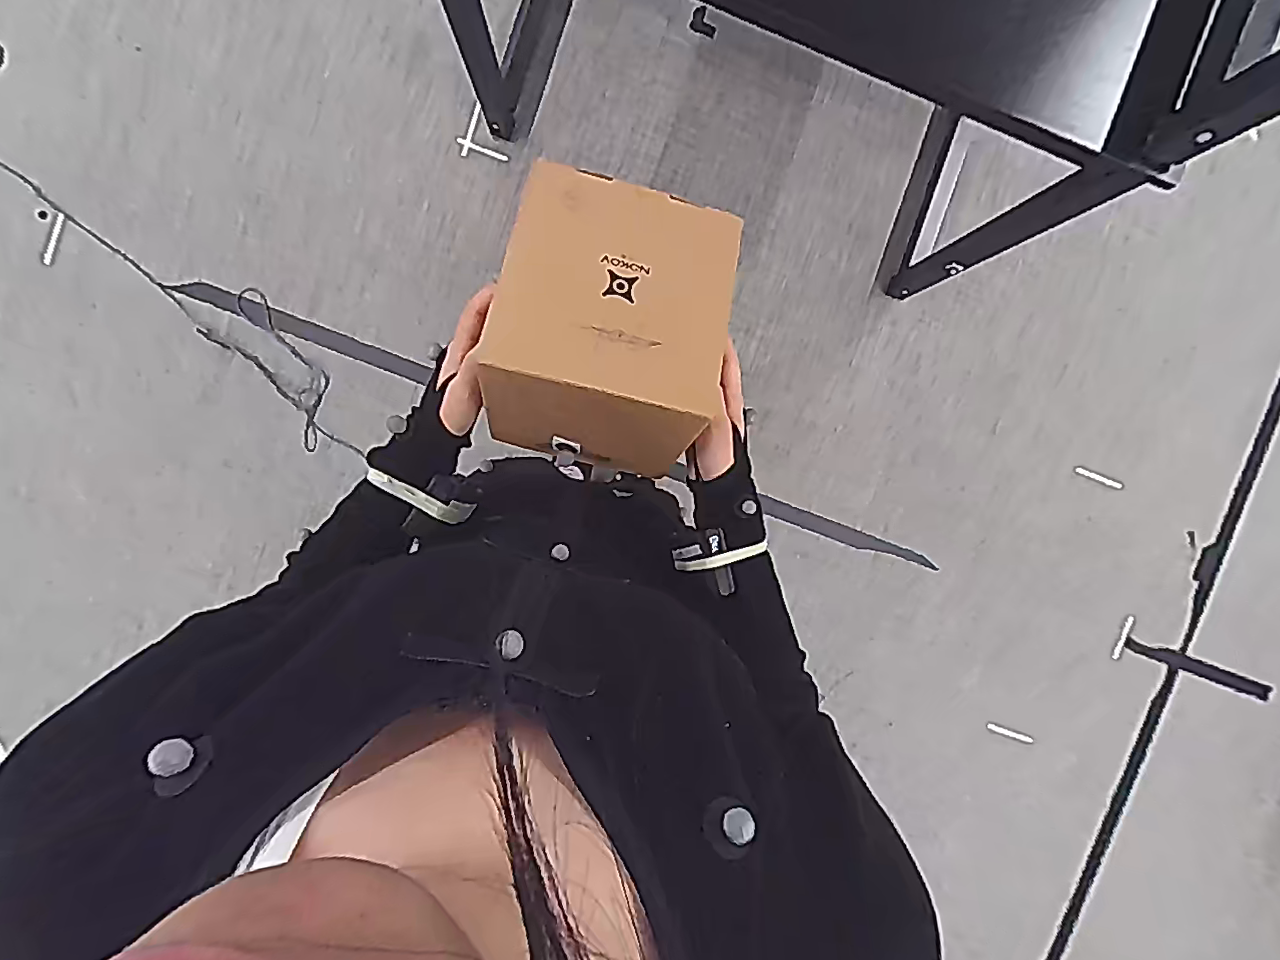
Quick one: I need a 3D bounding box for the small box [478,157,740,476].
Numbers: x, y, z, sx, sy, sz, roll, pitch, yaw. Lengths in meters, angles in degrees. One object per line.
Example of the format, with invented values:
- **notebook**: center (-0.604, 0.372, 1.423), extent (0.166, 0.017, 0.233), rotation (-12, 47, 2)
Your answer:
- **small box**: center (-0.029, -0.120, 0.459), extent (0.168, 0.176, 0.179), rotation (12, 74, -7)
